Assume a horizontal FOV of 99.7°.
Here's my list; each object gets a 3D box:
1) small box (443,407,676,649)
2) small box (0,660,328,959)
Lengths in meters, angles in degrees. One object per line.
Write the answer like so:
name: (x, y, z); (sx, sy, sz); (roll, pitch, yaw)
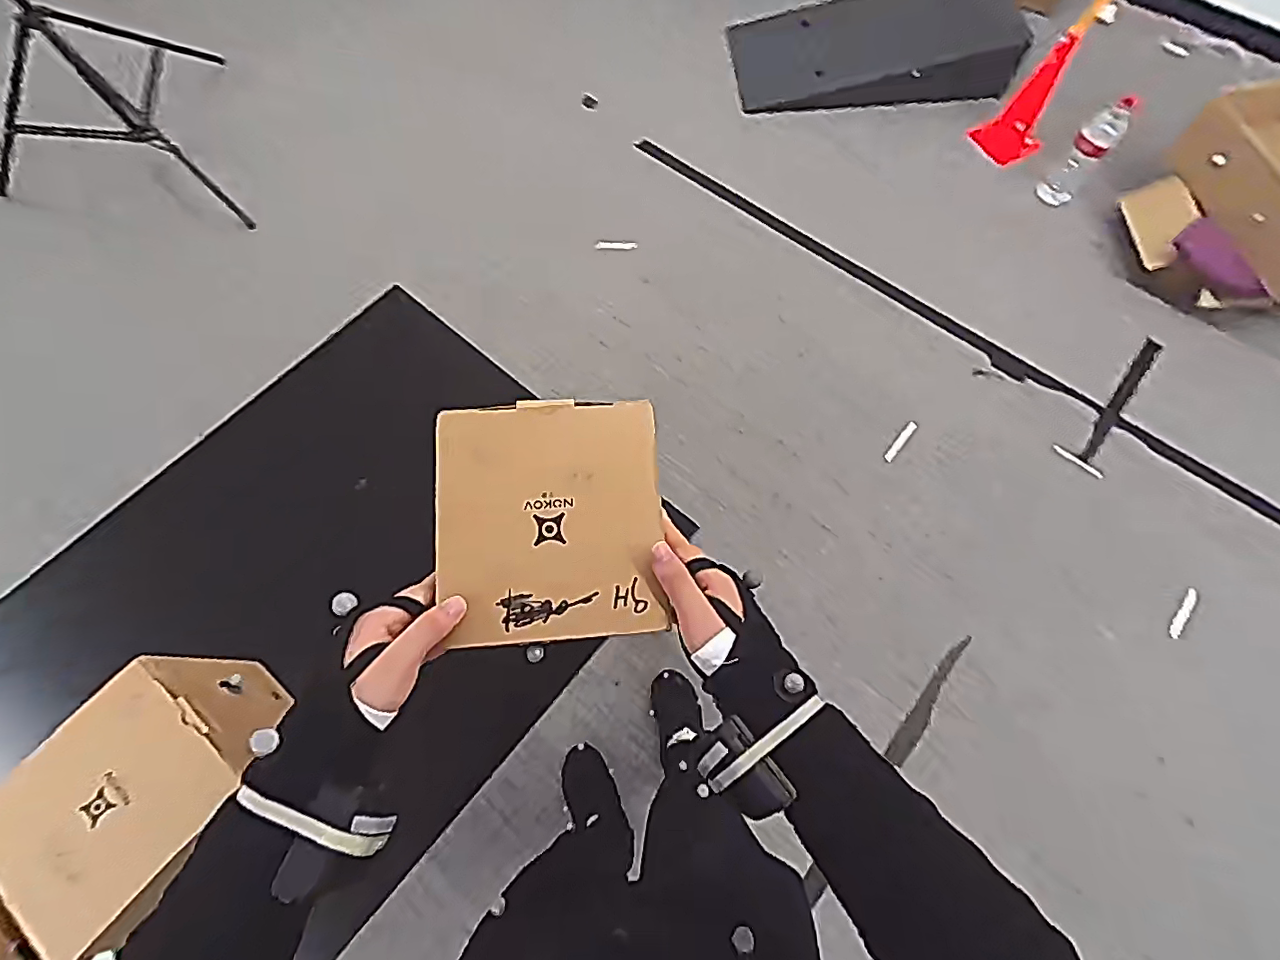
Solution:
small box: (-0.064, 0.048, 0.476); (0.168, 0.176, 0.179); (-3, 78, -3)
small box: (-0.447, 0.301, 0.529); (0.168, 0.176, 0.179); (36, 74, 14)
